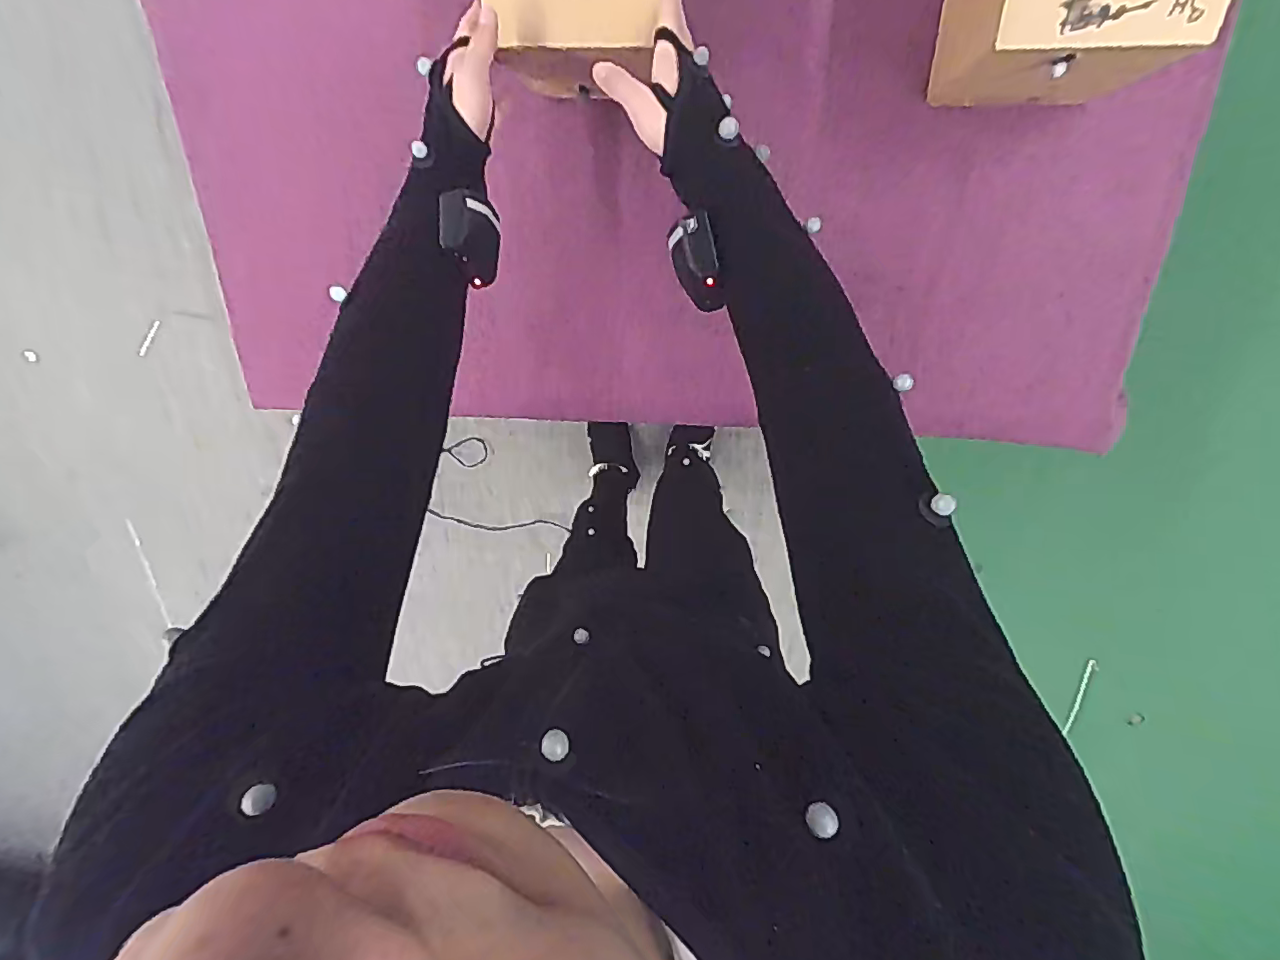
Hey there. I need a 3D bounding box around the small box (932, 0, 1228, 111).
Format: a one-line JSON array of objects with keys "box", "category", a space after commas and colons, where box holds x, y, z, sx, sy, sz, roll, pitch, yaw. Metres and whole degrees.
[{"box": [0.386, -0.457, 0.481, 0.168, 0.176, 0.179, 5, 111, 7], "category": "small box"}]

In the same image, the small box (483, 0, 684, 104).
[{"box": [-0.045, -0.498, 0.529, 0.168, 0.176, 0.179, 6, 112, 7], "category": "small box"}]
